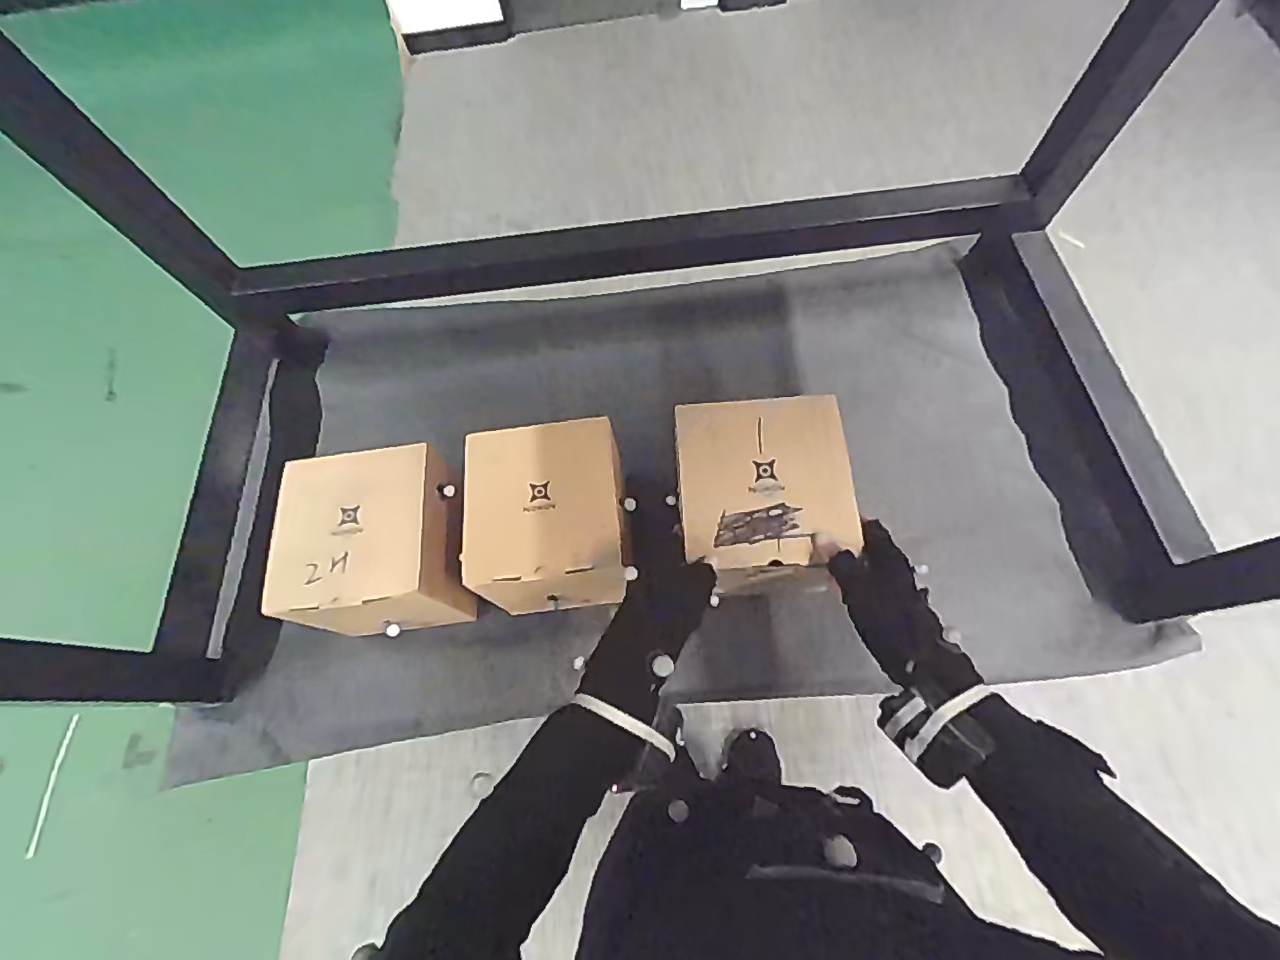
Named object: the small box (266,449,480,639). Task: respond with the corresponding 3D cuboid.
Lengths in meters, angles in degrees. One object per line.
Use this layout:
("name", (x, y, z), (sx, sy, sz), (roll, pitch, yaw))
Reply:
("small box", (-0.302, 0.084, 0.654), (0.168, 0.176, 0.179), (-8, 65, 2))

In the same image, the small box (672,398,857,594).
("small box", (0.124, 0.030, 0.601), (0.168, 0.176, 0.179), (-3, 68, 4))
